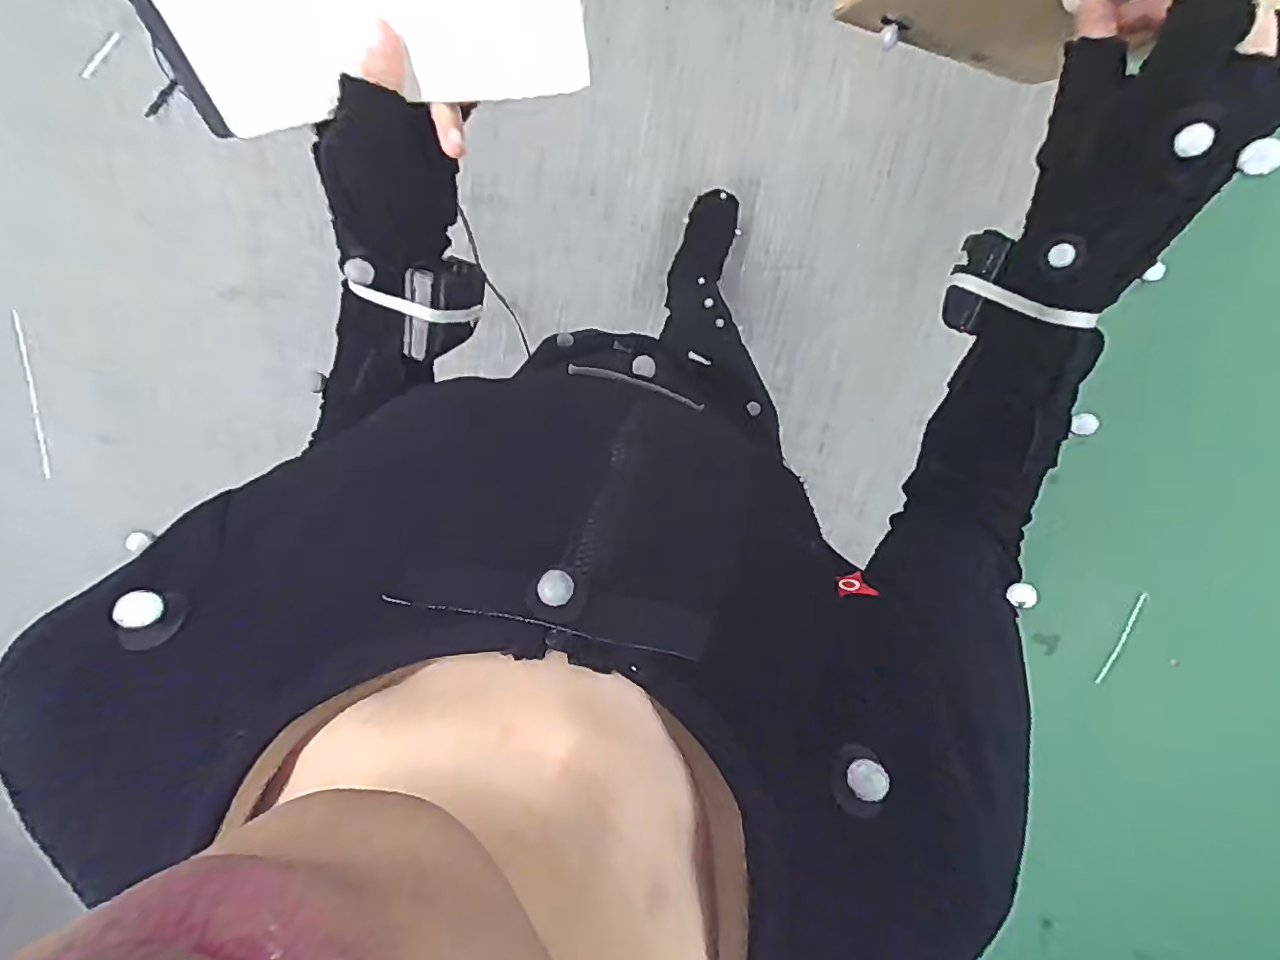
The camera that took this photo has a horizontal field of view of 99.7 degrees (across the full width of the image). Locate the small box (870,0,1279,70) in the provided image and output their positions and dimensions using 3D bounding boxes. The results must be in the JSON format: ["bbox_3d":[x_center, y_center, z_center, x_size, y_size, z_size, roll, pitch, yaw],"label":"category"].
[{"bbox_3d":[0.238,-0.341,0.271,0.168,0.176,0.179,6,115,-13],"label":"small box"}]
